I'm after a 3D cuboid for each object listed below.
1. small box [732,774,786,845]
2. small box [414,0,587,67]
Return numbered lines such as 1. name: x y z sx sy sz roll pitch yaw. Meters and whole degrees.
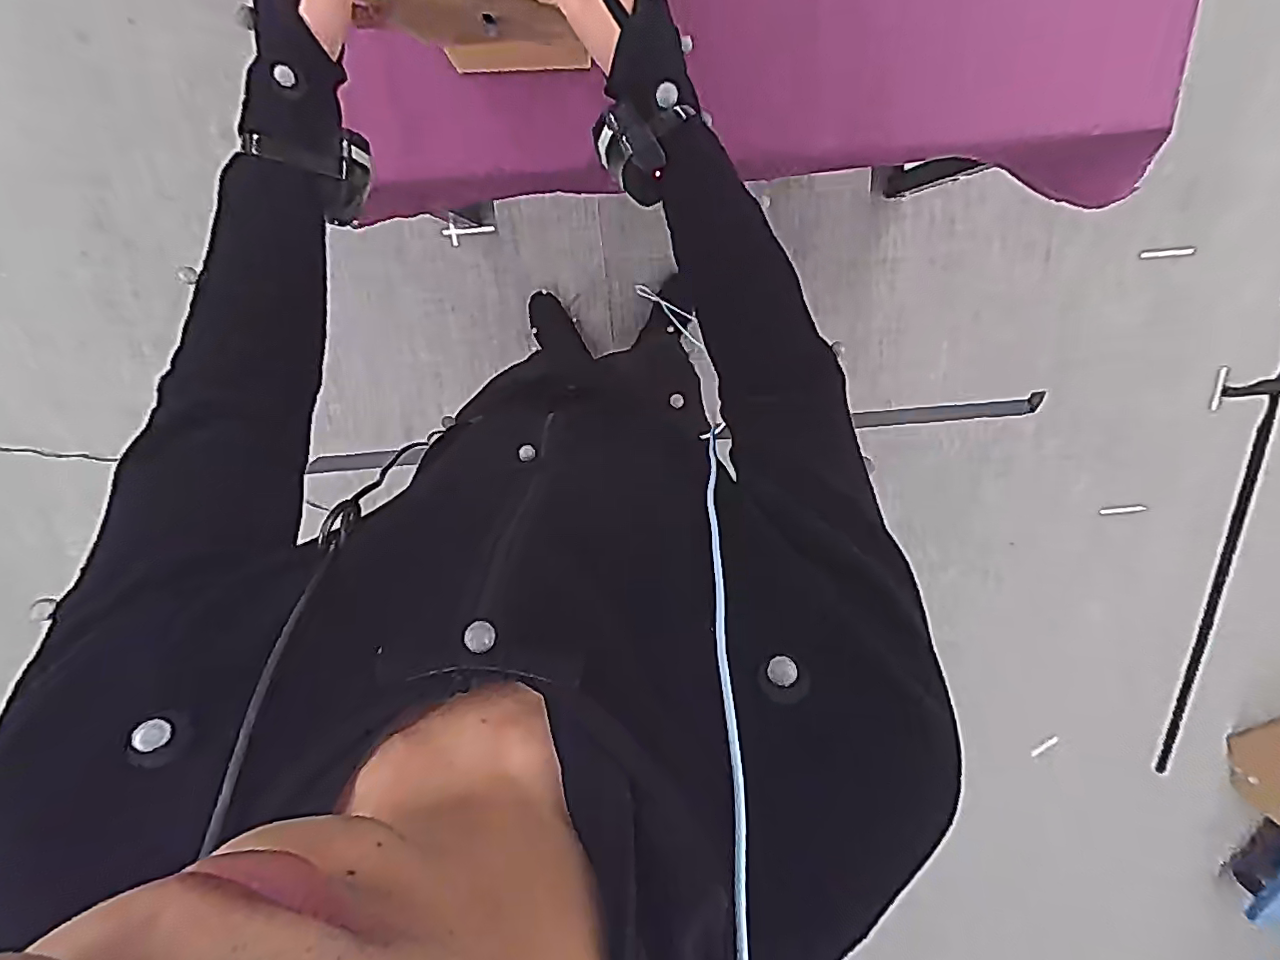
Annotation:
1. small box: 0.451 1.254 2.073 0.168 0.176 0.179 -4 111 -3
2. small box: -0.150 -0.585 0.598 0.179 0.176 0.168 -4 109 -2
